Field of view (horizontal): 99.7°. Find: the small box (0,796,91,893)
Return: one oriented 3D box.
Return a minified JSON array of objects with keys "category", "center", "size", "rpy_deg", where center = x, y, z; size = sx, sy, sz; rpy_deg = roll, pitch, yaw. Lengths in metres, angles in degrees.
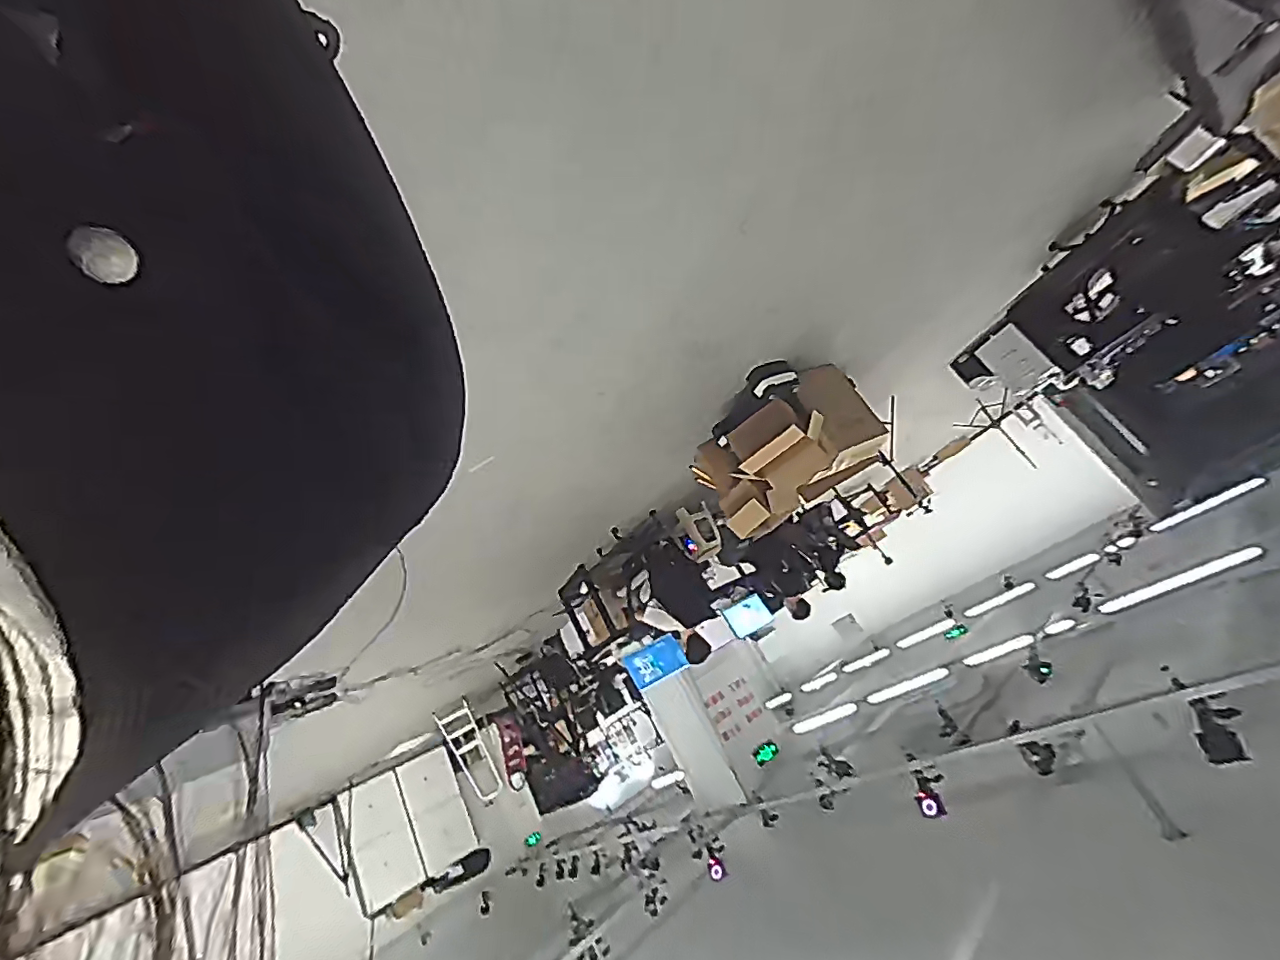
[{"category":"small box","center":[-1.723,1.042,1.554],"size":[0.168,0.176,0.179],"rpy_deg":[-12,152,-40]}]
